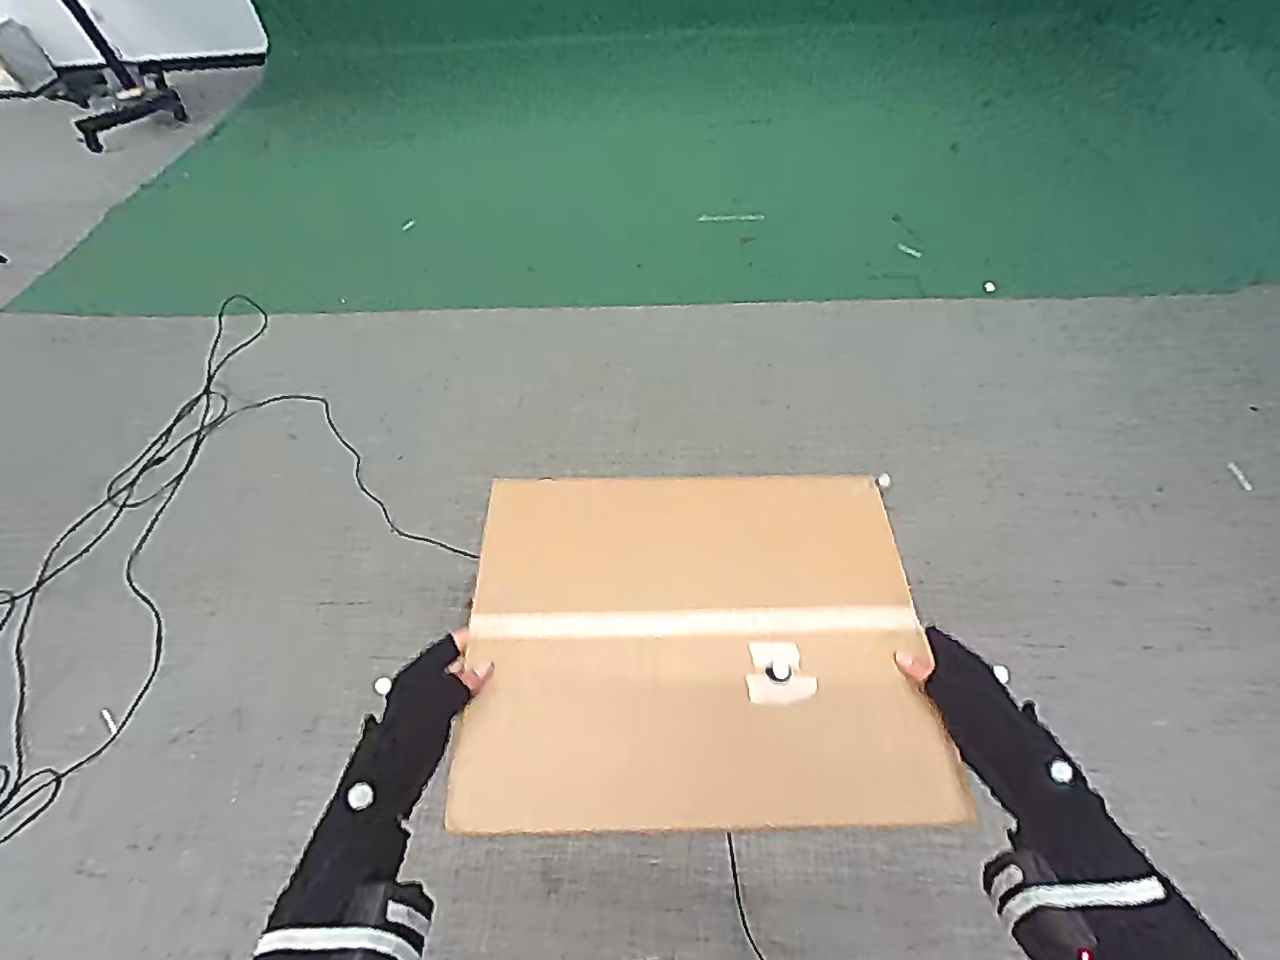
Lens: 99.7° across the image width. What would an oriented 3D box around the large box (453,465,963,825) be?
[{"bbox_3d":[0.046,0.199,0.615,0.408,0.320,0.320,-1,59,-1],"label":"large box"}]
